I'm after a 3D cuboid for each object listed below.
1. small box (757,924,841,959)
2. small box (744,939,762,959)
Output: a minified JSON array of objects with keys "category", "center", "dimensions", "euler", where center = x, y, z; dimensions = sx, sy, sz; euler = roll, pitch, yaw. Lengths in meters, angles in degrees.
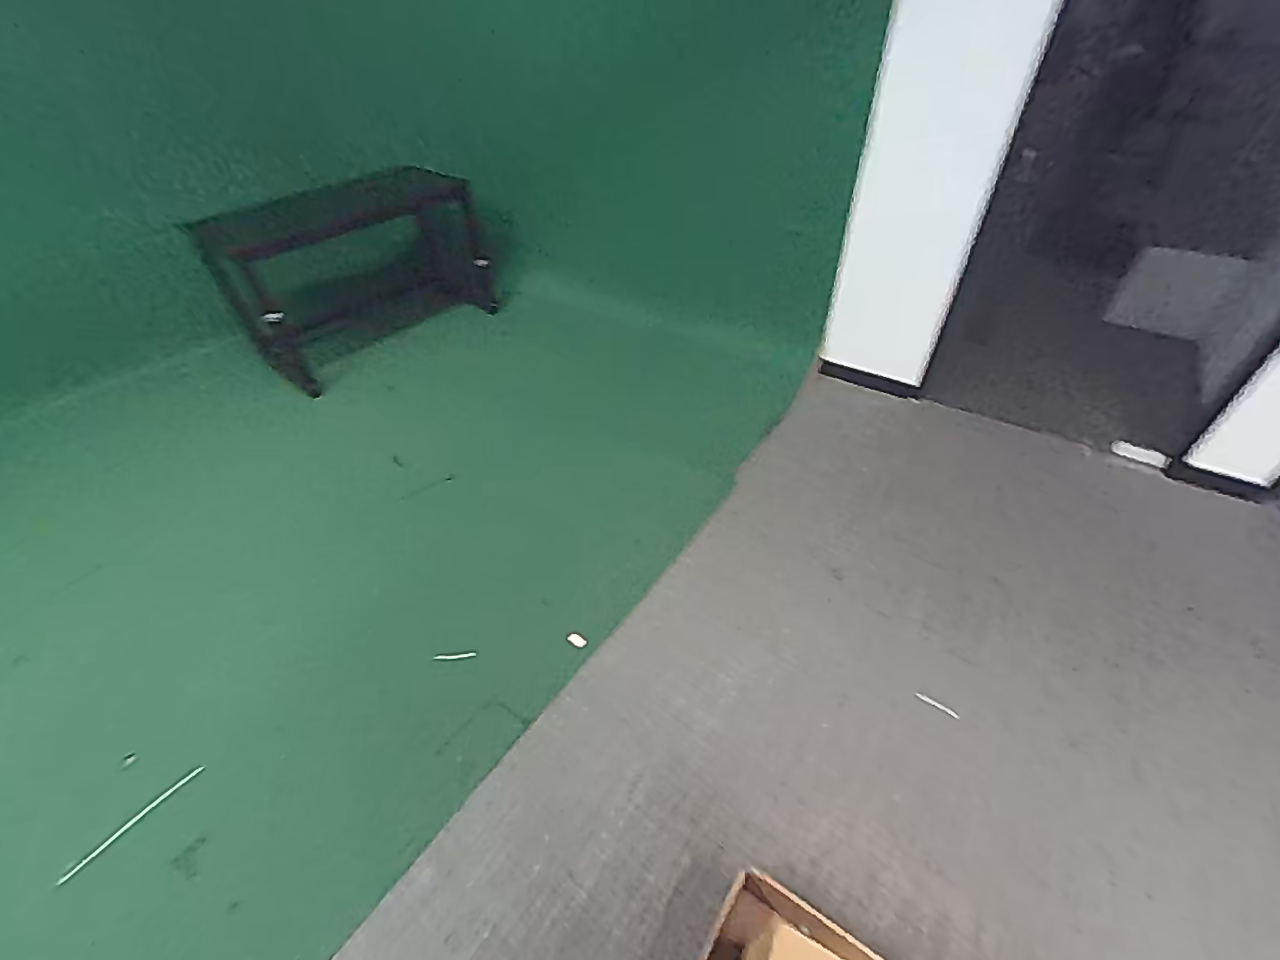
[{"category":"small box","center":[0.235,0.745,0.726],"dimensions":[0.179,0.176,0.168],"euler":[19,50,22]},{"category":"small box","center":[0.245,0.972,0.960],"dimensions":[0.179,0.176,0.168],"euler":[22,50,22]}]
